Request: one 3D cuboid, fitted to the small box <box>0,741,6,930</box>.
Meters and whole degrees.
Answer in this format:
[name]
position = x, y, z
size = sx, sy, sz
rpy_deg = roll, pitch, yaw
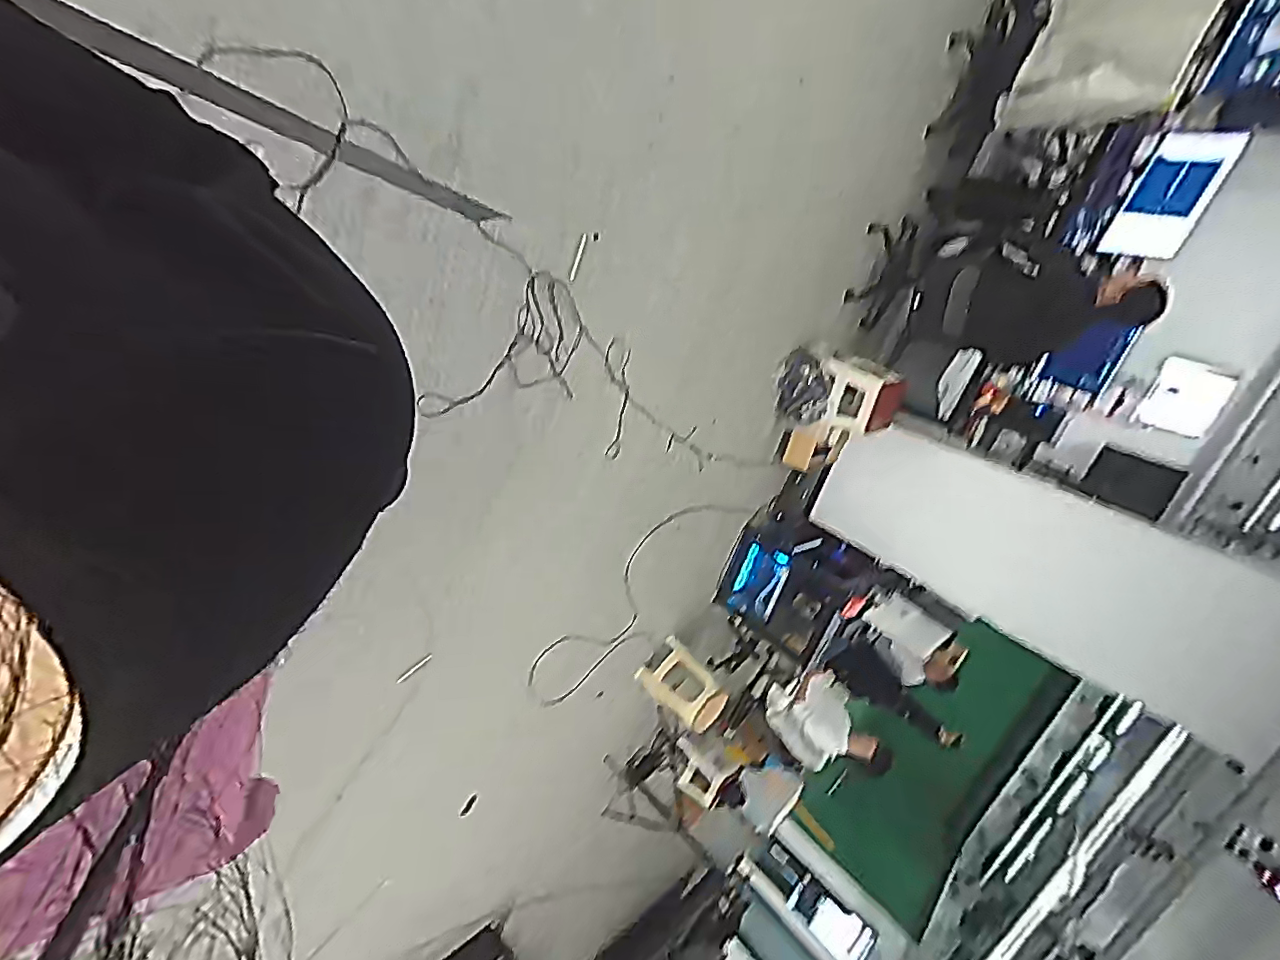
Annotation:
[small box]
position = -0.779, 0.395, 0.552
size = 0.168, 0.176, 0.179
rpy_deg = 0, 116, -48
